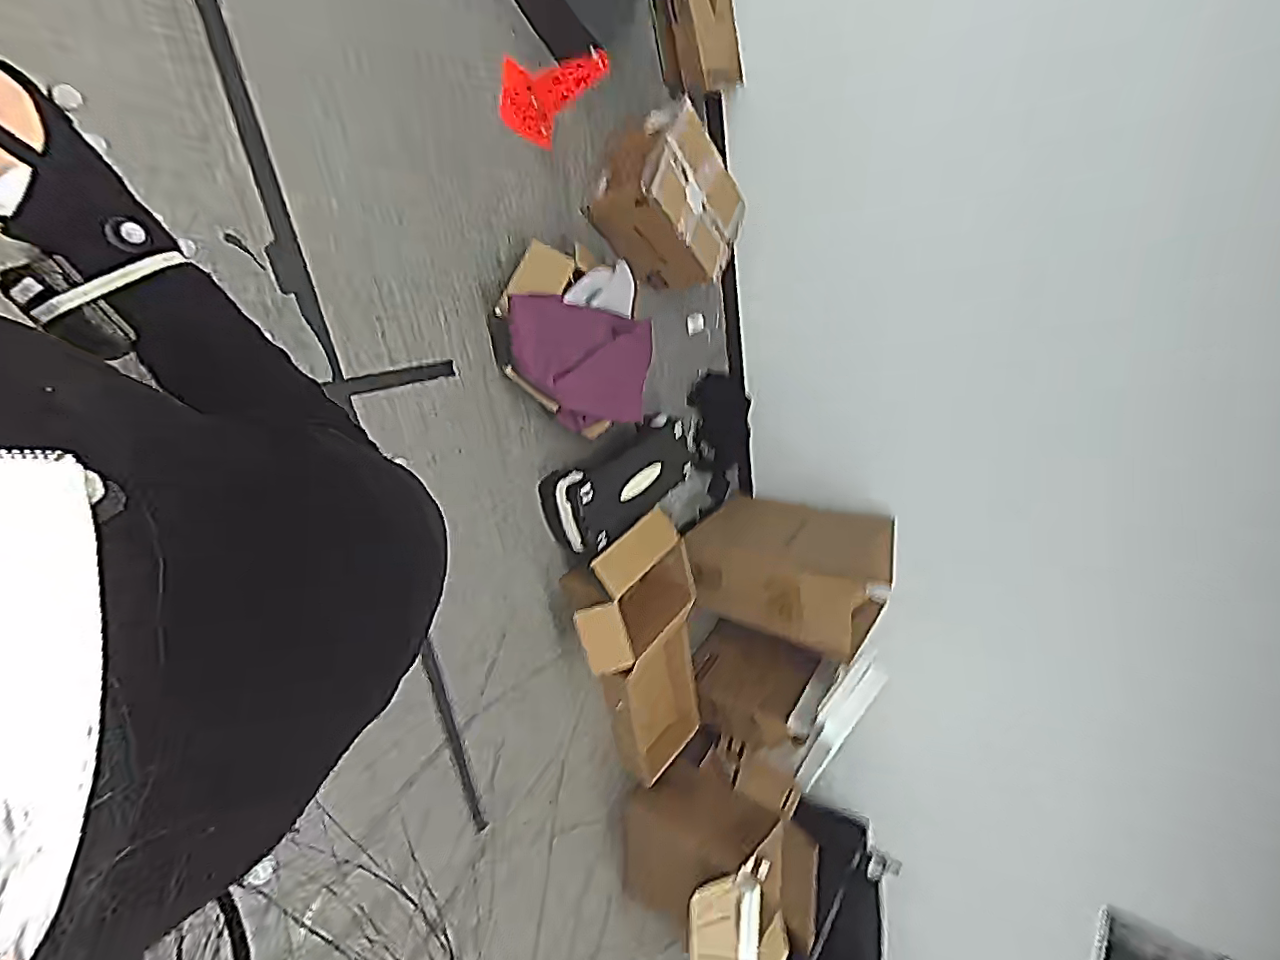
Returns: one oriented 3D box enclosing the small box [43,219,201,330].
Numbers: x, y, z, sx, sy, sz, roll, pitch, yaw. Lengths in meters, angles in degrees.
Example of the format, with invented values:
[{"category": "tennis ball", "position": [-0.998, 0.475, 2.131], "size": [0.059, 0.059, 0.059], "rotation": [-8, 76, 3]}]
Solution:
[{"category": "small box", "position": [-0.985, -0.388, 1.032], "size": [0.168, 0.176, 0.179], "rotation": [-30, 117, -43]}]
